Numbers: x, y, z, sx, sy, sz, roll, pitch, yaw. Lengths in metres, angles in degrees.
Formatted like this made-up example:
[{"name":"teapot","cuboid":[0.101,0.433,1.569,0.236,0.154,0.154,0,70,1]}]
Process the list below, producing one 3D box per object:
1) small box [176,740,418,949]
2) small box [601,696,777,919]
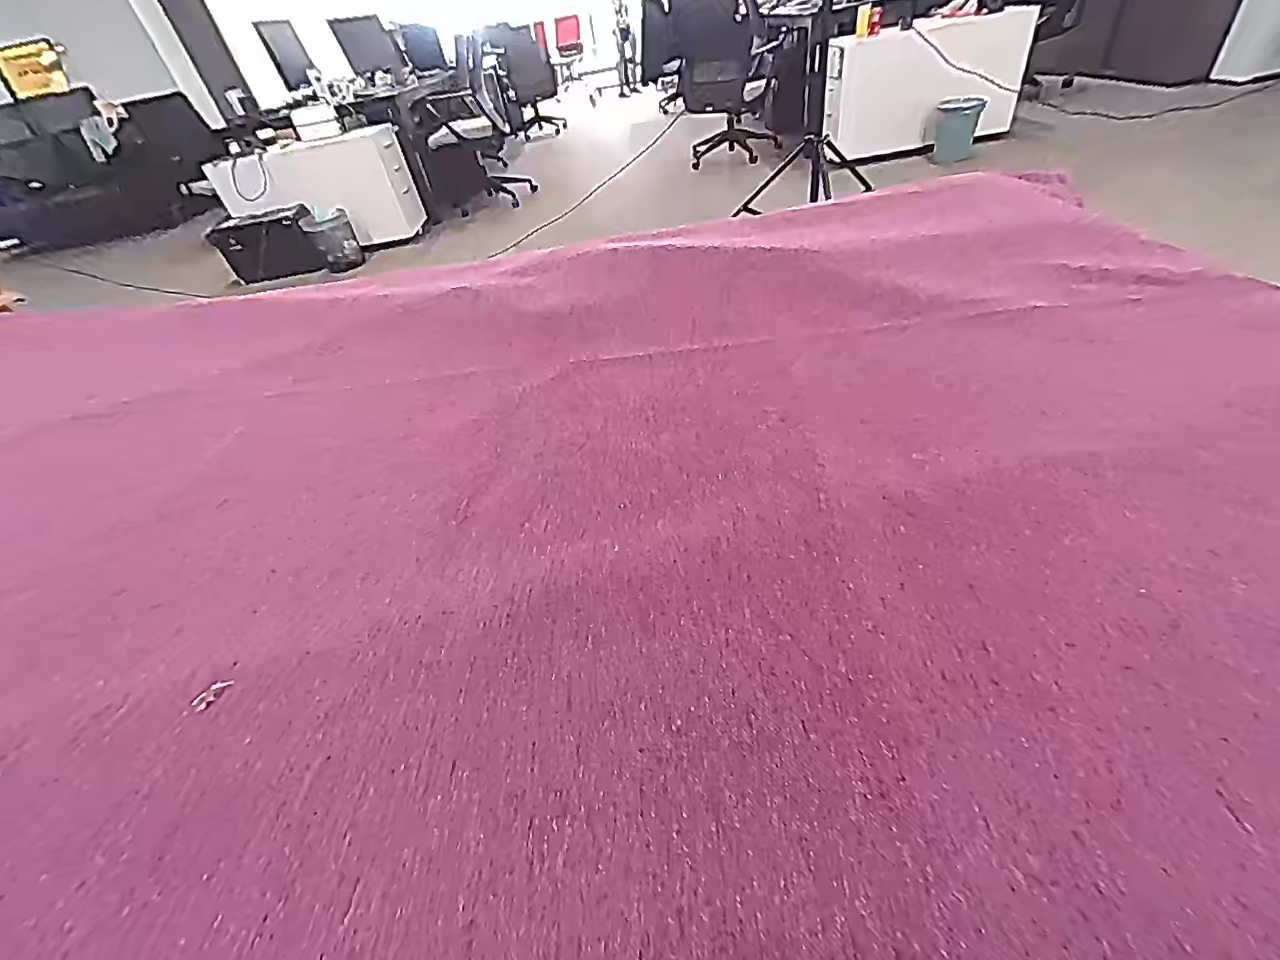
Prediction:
[{"name":"small box","cuboid":[-0.400,0.455,0.676,0.168,0.176,0.179,-9,43,3]},{"name":"small box","cuboid":[0.051,0.369,0.612,0.168,0.176,0.179,-6,43,3]}]
